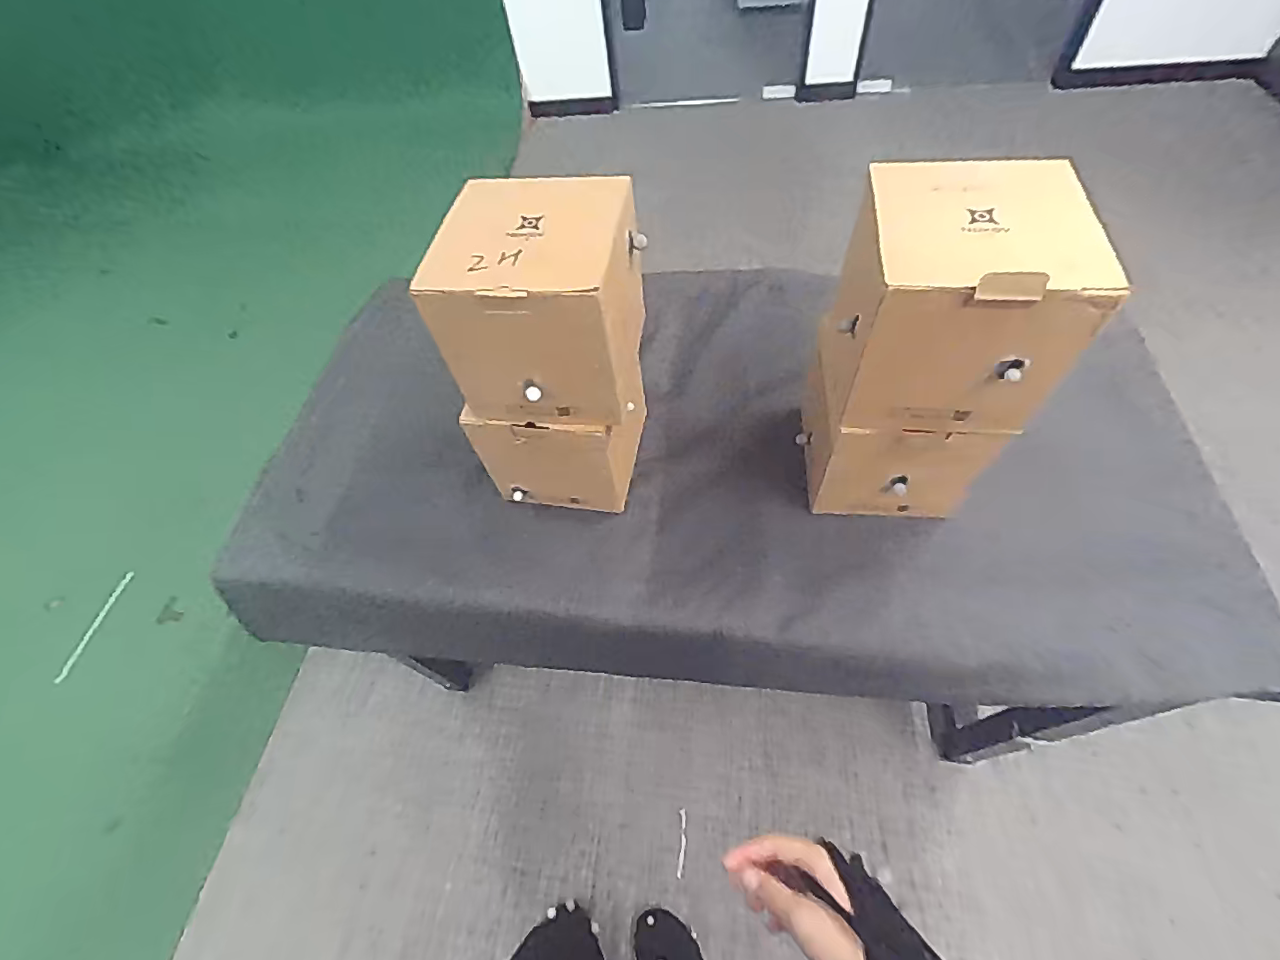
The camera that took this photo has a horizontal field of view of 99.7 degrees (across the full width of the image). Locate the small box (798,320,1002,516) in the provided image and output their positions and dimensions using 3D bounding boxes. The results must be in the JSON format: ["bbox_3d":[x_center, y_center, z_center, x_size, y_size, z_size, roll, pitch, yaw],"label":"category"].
[{"bbox_3d":[0.287,-0.070,0.643,0.168,0.176,0.179,2,57,7],"label":"small box"}]

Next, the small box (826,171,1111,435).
[{"bbox_3d":[0.276,-0.160,0.508,0.168,0.176,0.179,4,56,8],"label":"small box"}]

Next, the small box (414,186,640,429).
[{"bbox_3d":[-0.095,-0.175,0.558,0.168,0.176,0.179,3,56,9],"label":"small box"}]

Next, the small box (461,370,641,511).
[{"bbox_3d":[-0.096,-0.078,0.692,0.168,0.176,0.179,6,56,10],"label":"small box"}]
